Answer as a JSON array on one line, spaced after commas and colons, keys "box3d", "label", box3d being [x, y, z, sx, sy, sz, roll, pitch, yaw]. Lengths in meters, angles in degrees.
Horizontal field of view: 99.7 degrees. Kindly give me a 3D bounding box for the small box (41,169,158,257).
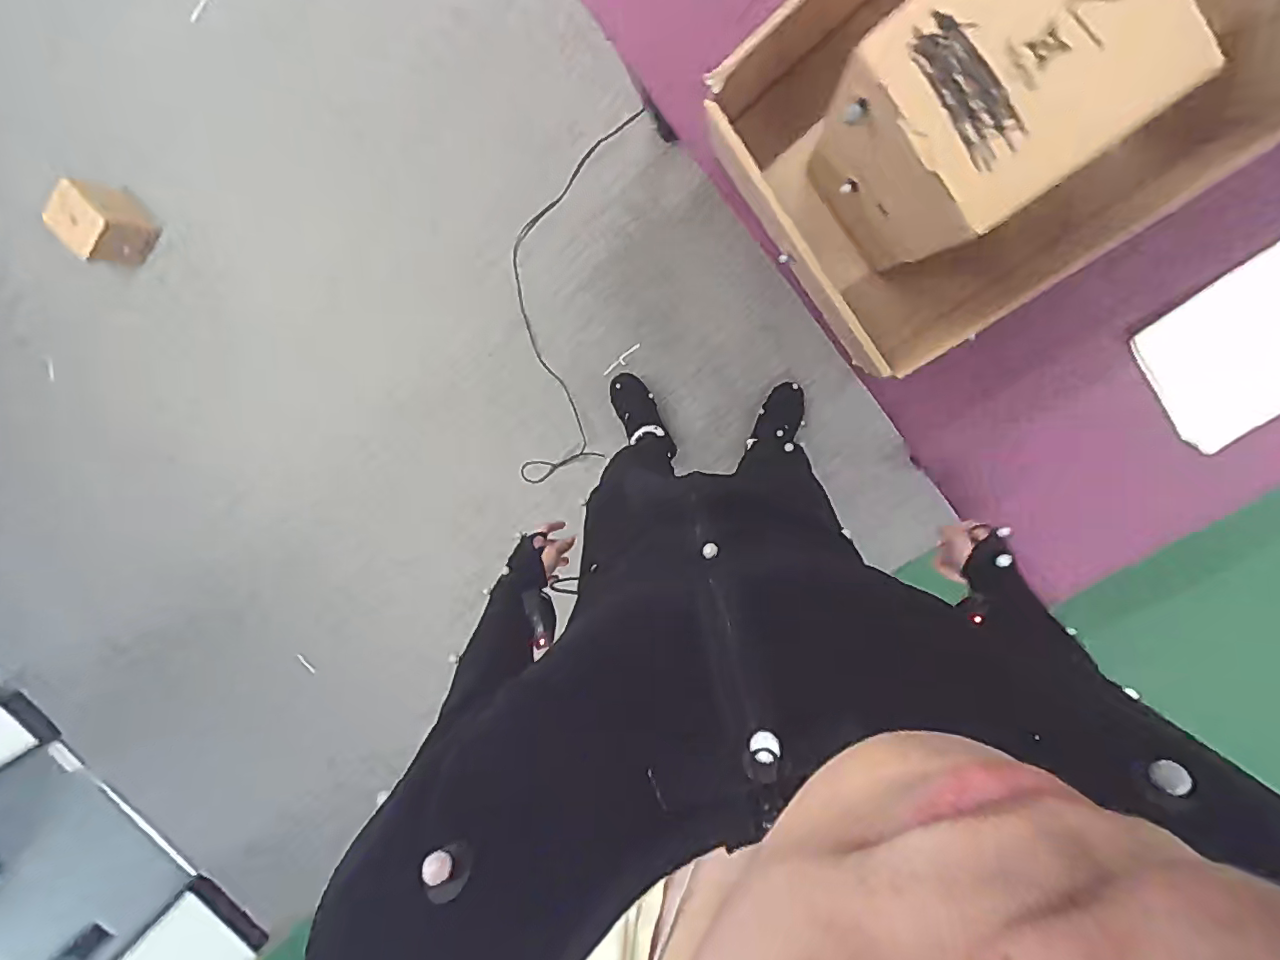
[{"box3d": [-1.664, -0.814, 1.676, 0.168, 0.176, 0.179, -40, 95, 17], "label": "small box"}]
